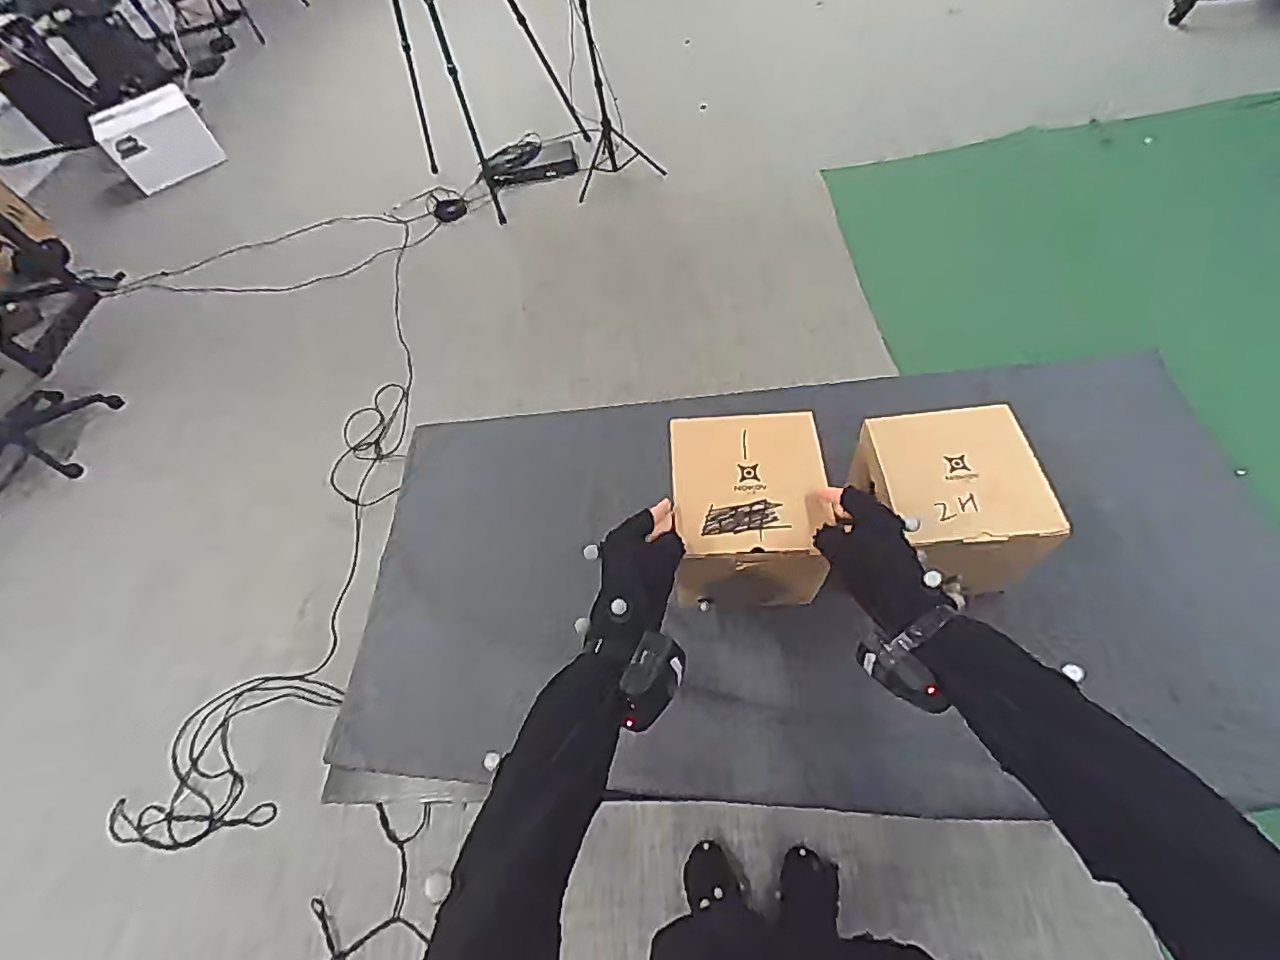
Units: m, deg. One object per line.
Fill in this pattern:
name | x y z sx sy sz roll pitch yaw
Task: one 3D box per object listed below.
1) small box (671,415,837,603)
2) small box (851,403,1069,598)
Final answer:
small box | 0.127 0.044 0.657 0.168 0.176 0.179 -4 58 5
small box | 0.373 0.031 0.674 0.168 0.176 0.179 -7 57 9
